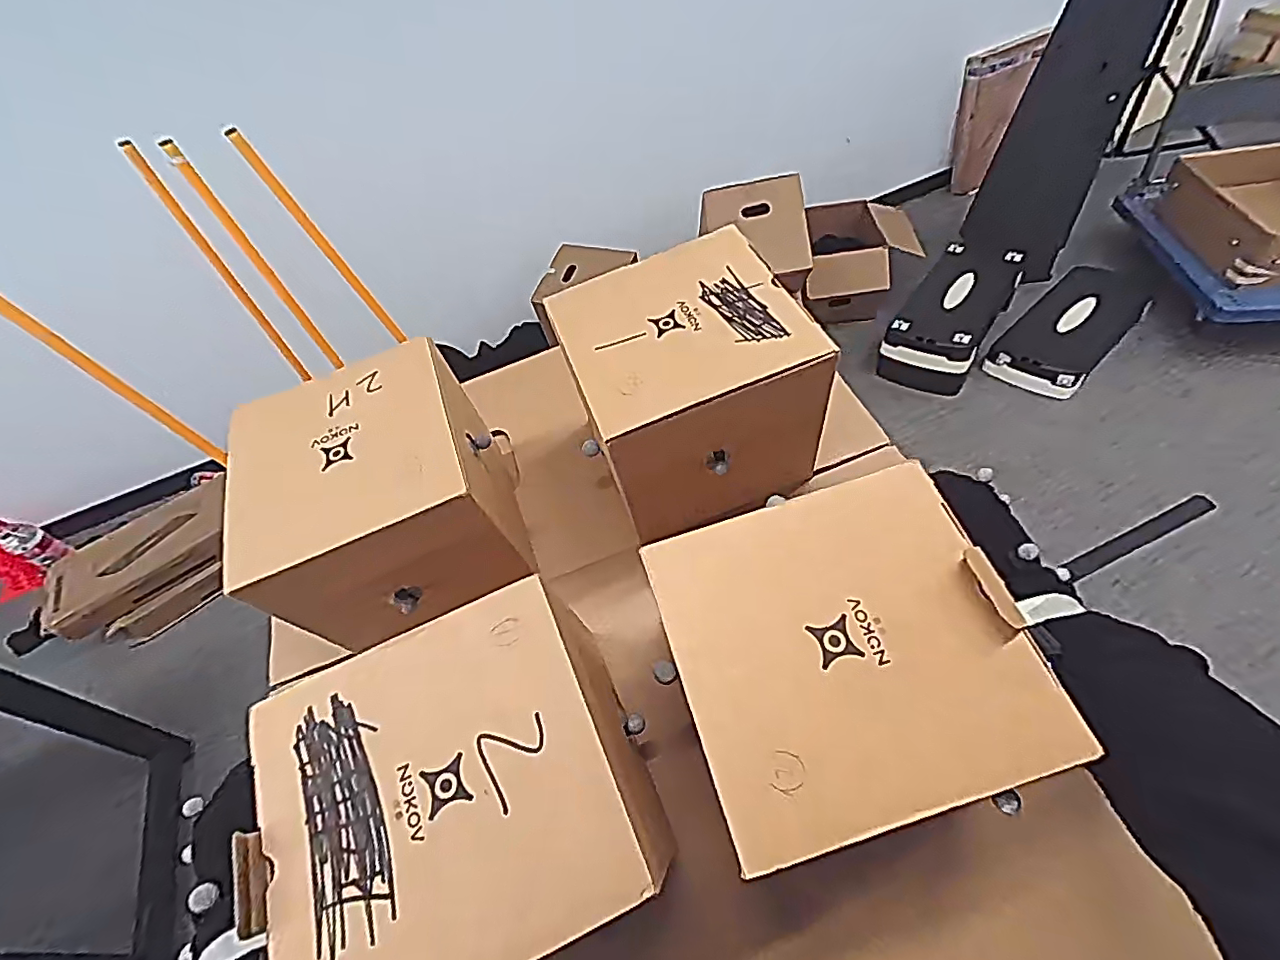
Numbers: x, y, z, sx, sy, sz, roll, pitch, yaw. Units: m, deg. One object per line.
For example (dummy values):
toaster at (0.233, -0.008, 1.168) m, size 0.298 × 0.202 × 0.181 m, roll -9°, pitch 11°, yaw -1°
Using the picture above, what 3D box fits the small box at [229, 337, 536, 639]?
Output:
small box at (-0.205, 0.018, 0.464) m, size 0.168 × 0.176 × 0.179 m, roll -22°, pitch 56°, yaw -4°
